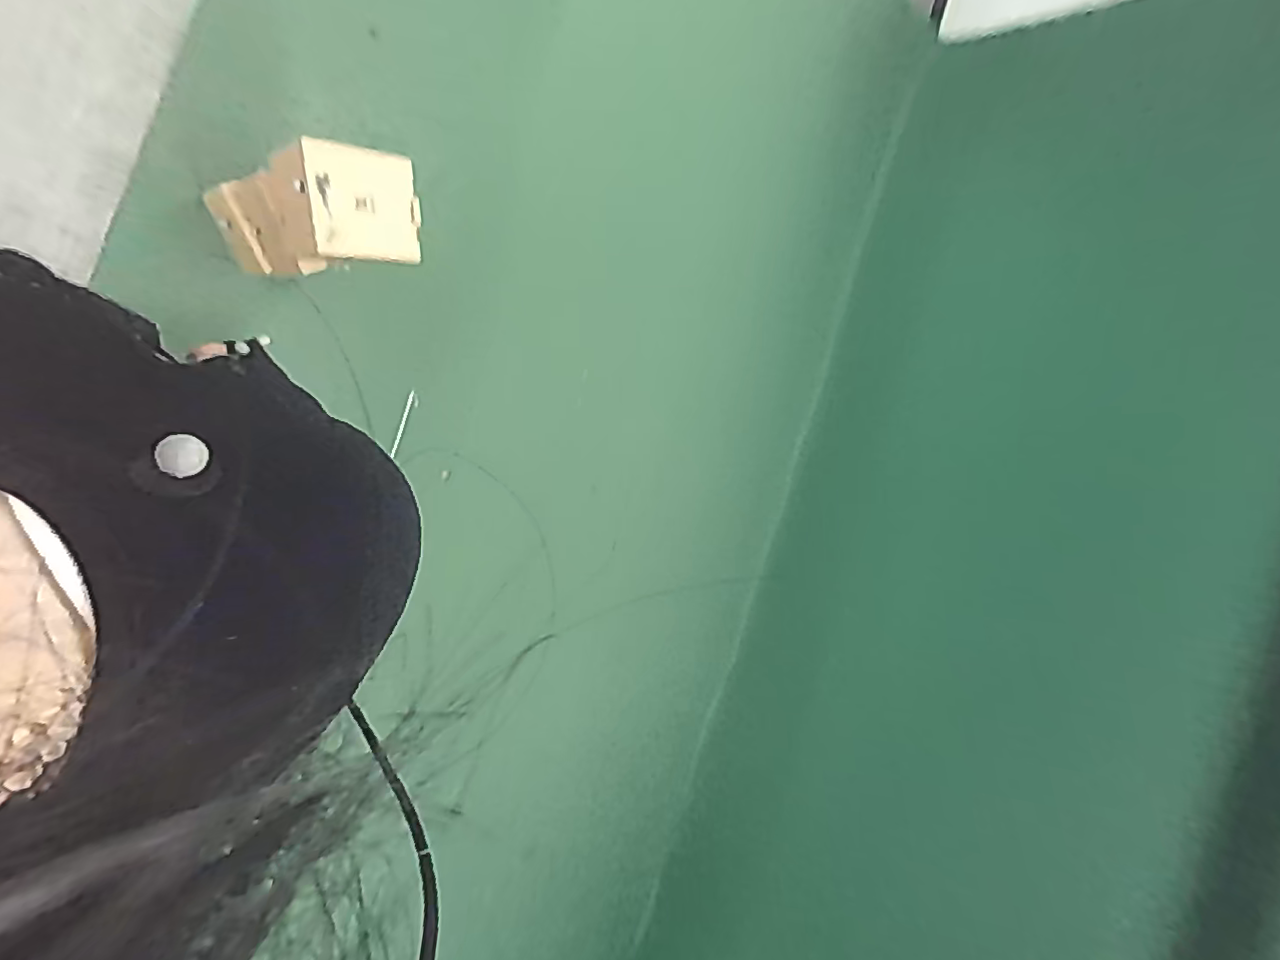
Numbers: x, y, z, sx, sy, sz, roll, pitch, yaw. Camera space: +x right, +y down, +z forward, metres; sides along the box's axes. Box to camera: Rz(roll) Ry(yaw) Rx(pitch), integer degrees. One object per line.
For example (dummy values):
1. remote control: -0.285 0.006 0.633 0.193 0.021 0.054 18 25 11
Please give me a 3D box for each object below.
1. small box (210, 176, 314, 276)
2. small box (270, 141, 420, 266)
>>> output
1. small box: -0.770 -0.539 1.147 0.179 0.176 0.168 -38 129 -35
2. small box: -0.515 -0.471 0.950 0.179 0.176 0.168 -17 115 -45
